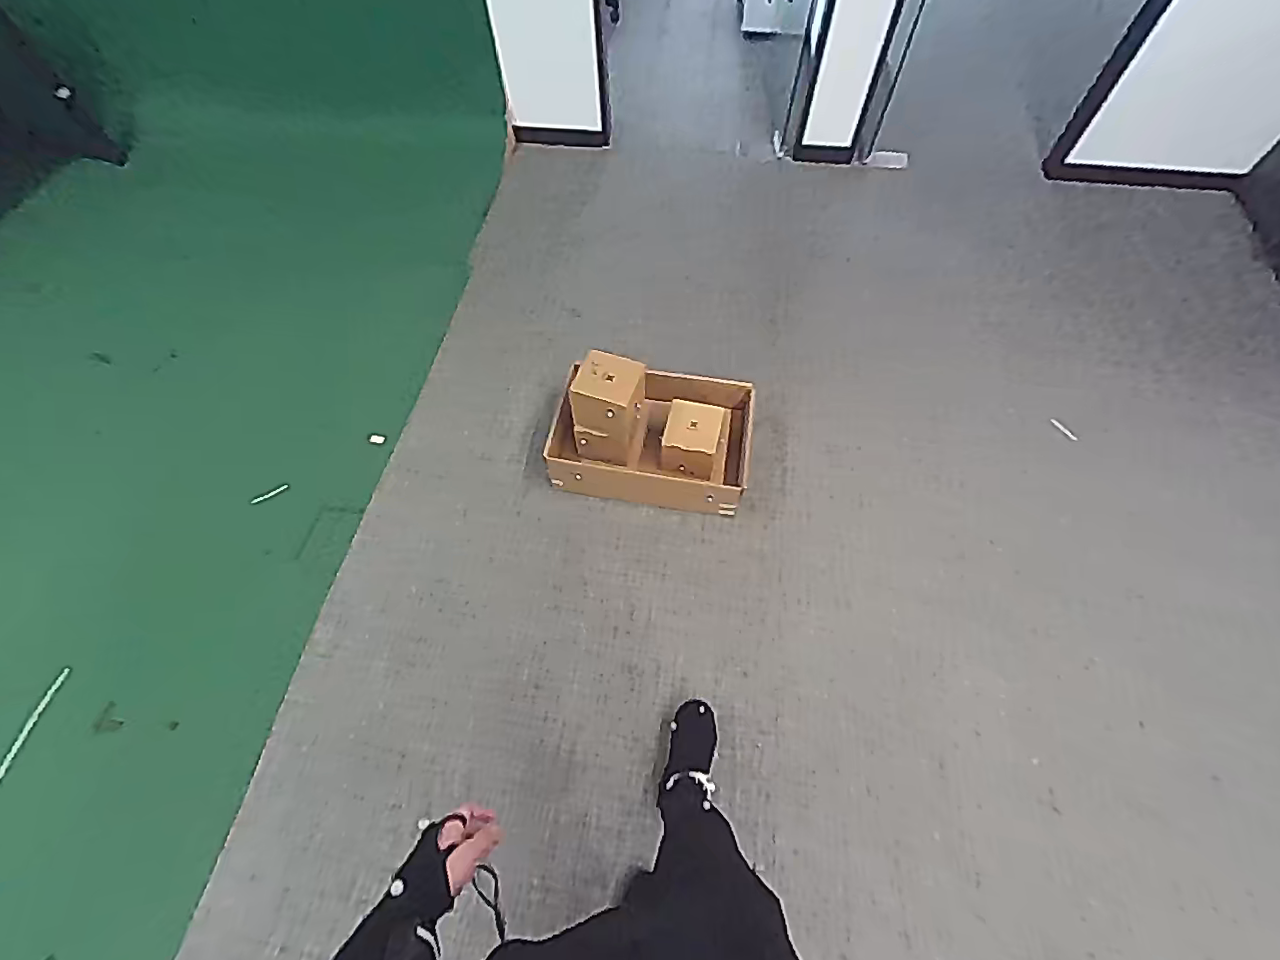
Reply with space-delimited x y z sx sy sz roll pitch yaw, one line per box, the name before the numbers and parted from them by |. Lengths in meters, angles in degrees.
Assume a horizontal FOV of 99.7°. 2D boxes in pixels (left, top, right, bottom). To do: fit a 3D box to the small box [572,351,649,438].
small box | -0.082 -0.248 1.602 0.179 0.176 0.168 18 62 9
